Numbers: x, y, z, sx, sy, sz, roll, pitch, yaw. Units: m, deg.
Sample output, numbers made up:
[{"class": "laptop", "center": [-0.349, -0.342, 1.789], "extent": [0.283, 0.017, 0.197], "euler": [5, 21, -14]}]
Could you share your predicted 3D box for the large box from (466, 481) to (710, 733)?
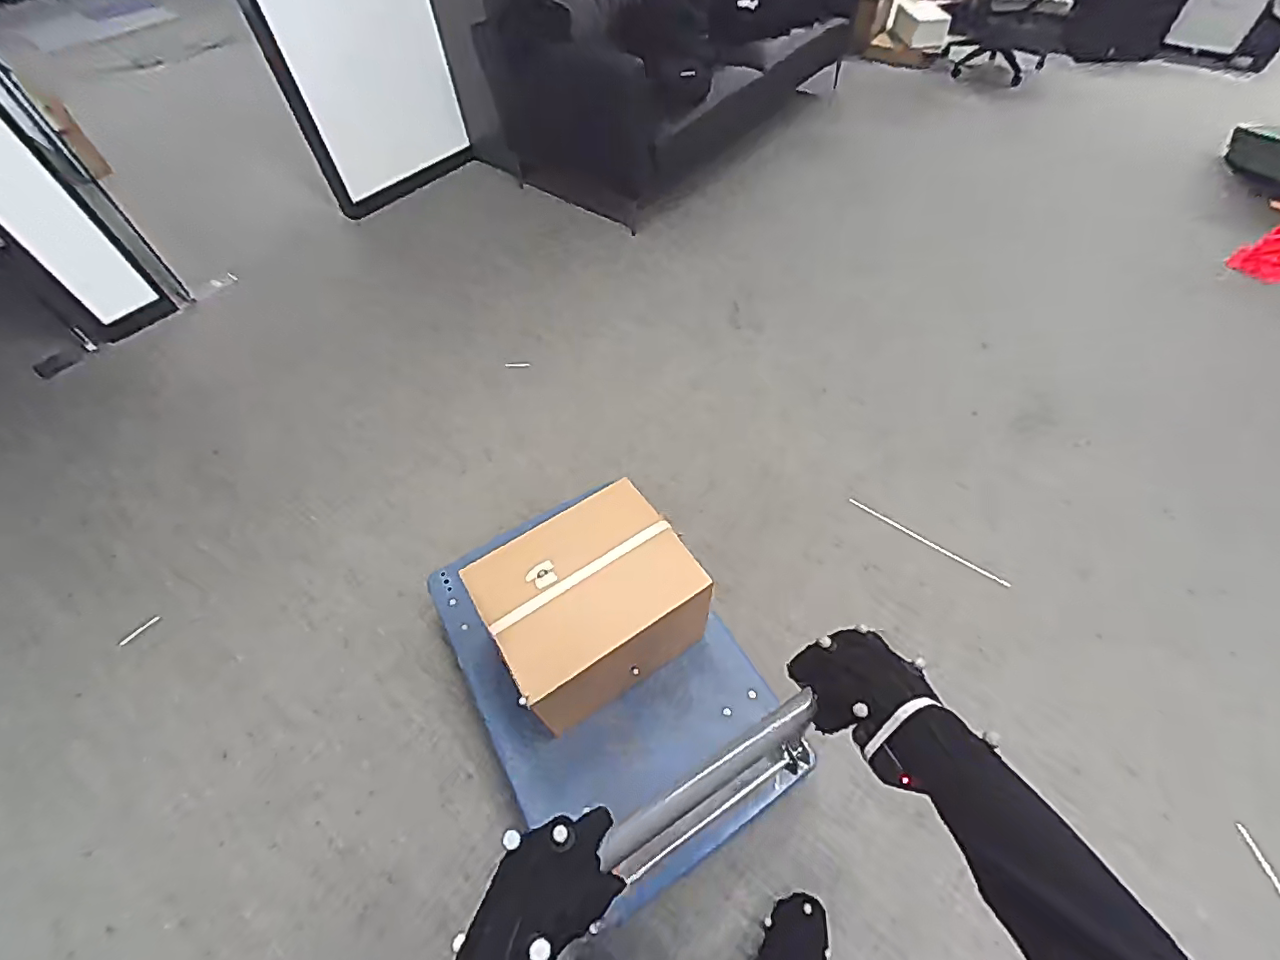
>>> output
[{"class": "large box", "center": [-0.098, 0.281, 1.196], "extent": [0.408, 0.320, 0.320], "euler": [-31, 58, -17]}]
